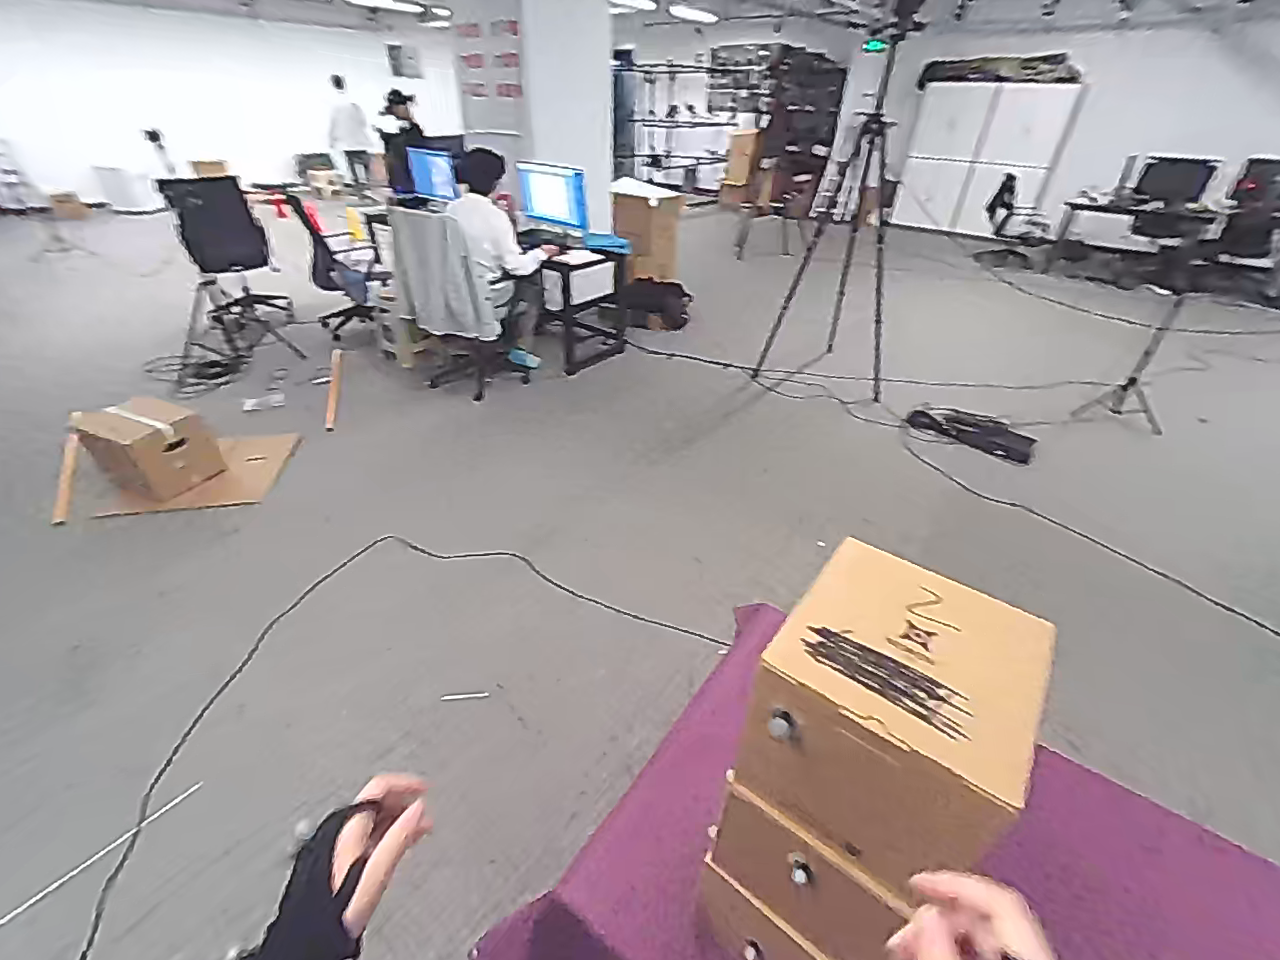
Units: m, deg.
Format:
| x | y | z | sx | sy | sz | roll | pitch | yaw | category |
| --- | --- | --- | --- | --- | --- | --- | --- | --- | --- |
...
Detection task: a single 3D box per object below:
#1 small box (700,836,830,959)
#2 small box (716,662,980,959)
| x | y | z | sx | sy | sz | roll | pitch | yaw | category |
| --- | --- | --- | --- | --- | --- | --- | --- | --- | --- |
| 0.182 | 0.457 | 0.624 | 0.168 | 0.176 | 0.179 | 27 | 42 | 31 | small box |
| 0.190 | 0.325 | 0.528 | 0.179 | 0.176 | 0.168 | 26 | 43 | 30 | small box |
